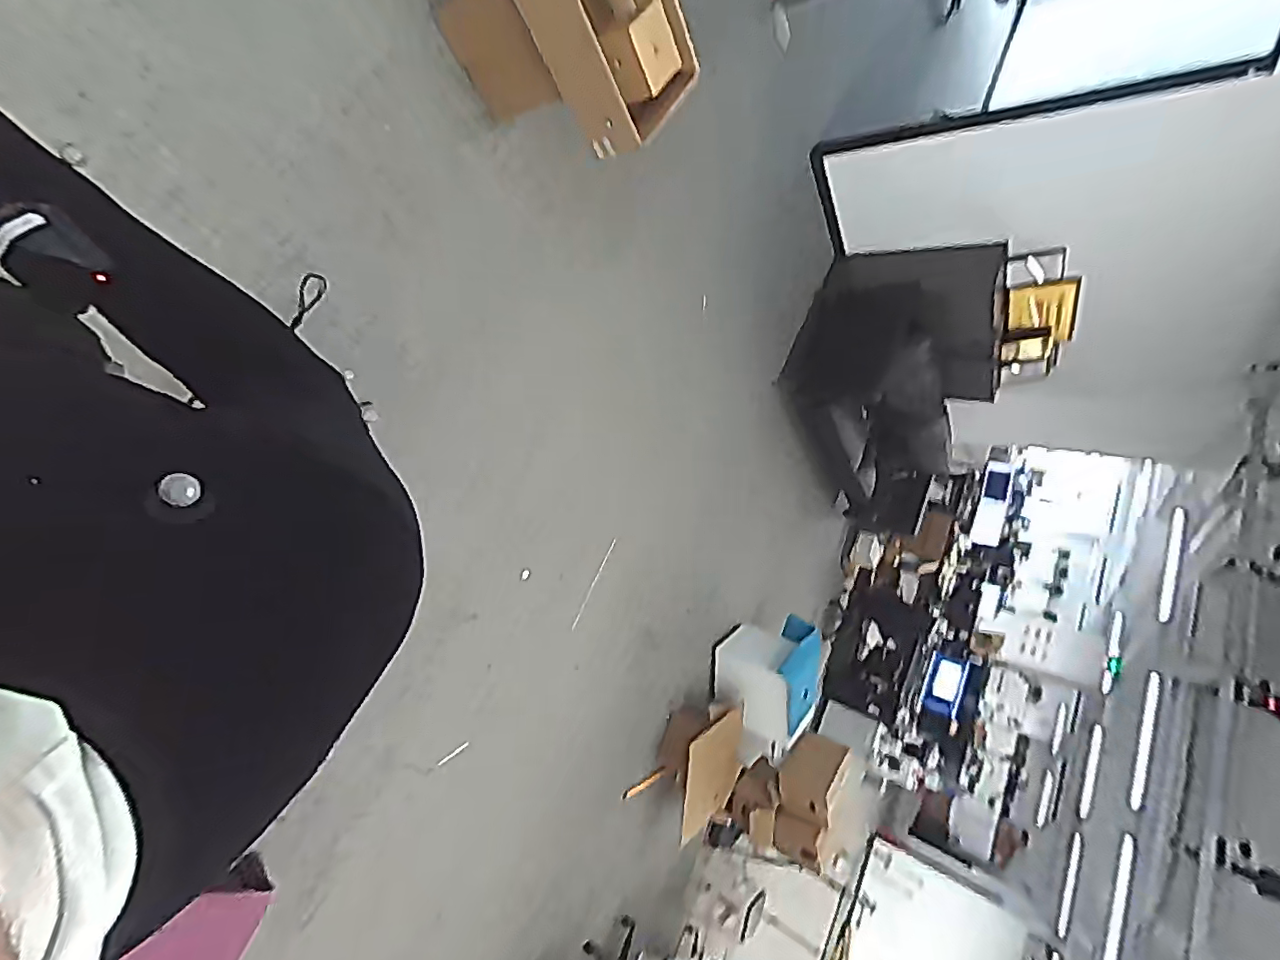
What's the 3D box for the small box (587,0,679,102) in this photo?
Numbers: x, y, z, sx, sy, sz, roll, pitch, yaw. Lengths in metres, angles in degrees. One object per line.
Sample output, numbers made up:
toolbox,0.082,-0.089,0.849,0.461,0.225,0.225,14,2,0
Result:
small box,-0.025,-1.206,1.518,0.179,0.176,0.168,-60,139,-21
